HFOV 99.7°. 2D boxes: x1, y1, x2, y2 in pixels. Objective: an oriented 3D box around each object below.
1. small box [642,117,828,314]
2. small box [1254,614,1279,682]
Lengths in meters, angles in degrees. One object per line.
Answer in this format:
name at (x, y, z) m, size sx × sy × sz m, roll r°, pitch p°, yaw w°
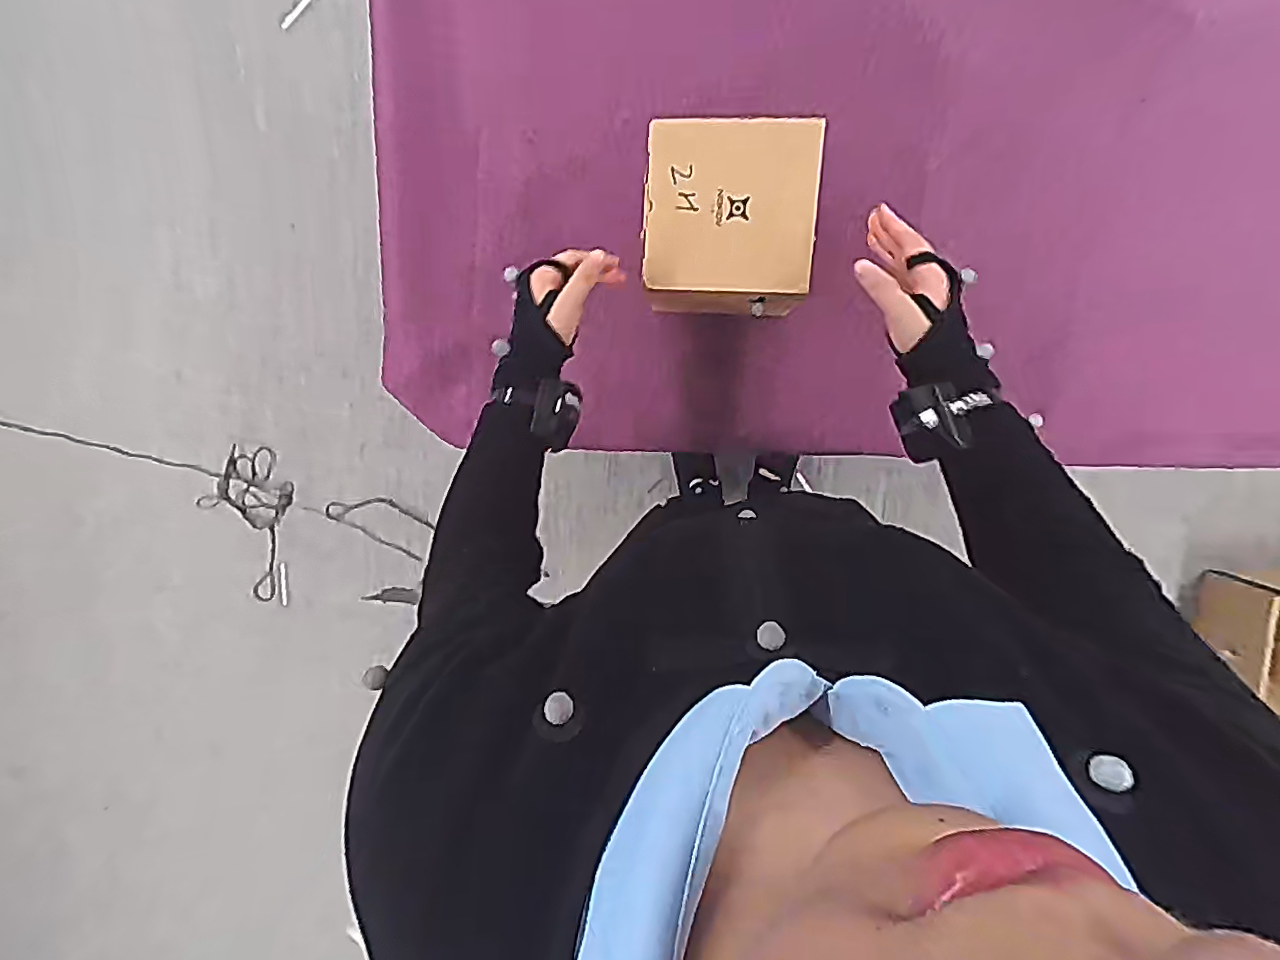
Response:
small box at (0.101, -0.289, 0.624) m, size 0.179 × 0.176 × 0.168 m, roll 4°, pitch 99°, yaw 7°
small box at (1.616, 0.420, 1.246) m, size 0.179 × 0.176 × 0.168 m, roll 9°, pitch 102°, yaw 5°
